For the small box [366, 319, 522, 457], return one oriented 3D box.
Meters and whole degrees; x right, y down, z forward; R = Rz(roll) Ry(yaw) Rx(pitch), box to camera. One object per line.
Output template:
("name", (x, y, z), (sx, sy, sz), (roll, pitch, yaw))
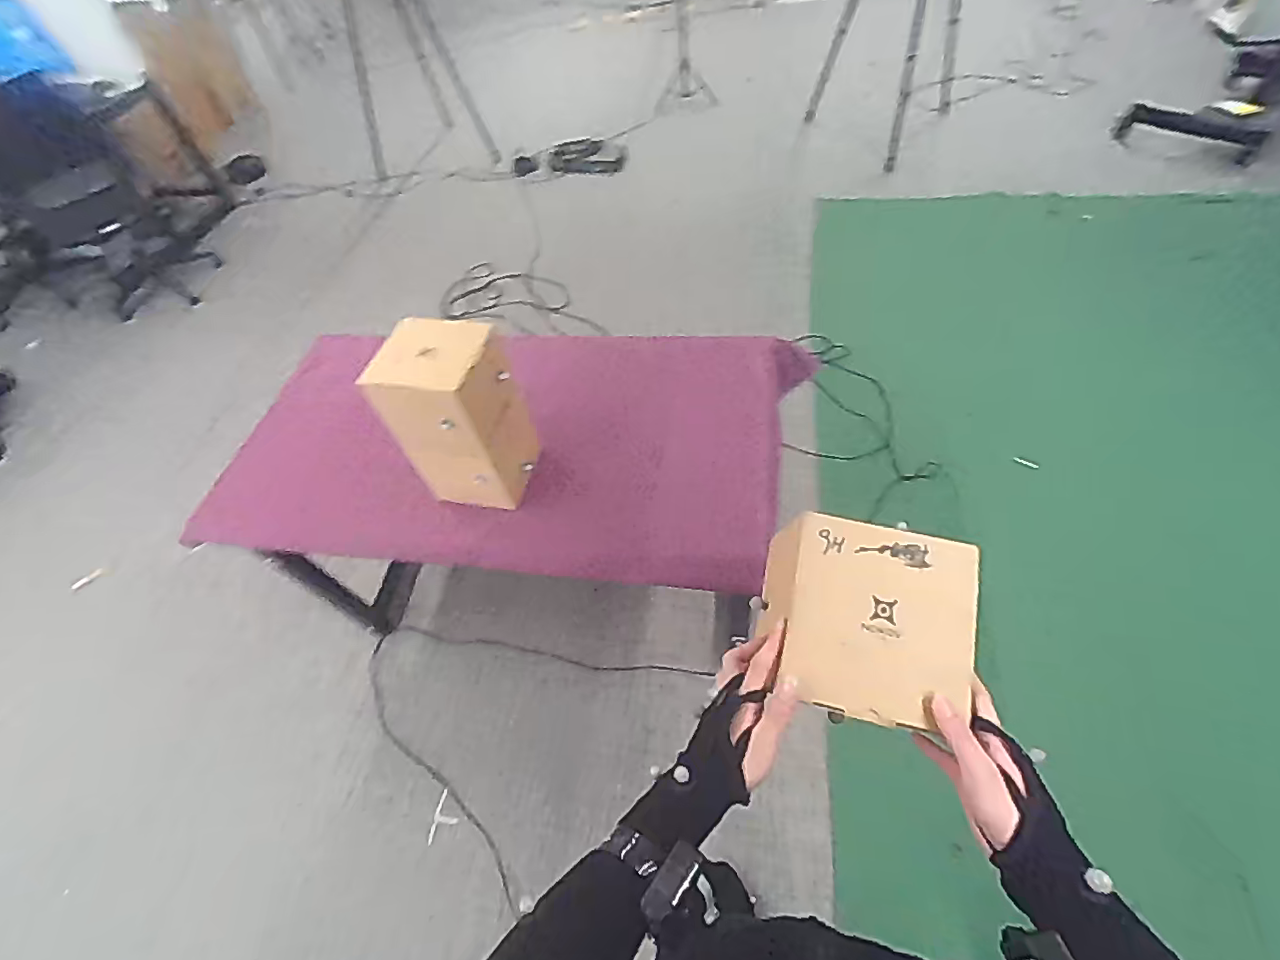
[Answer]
("small box", (-0.329, -0.159, 0.953), (0.179, 0.176, 0.168), (8, 55, 13))
